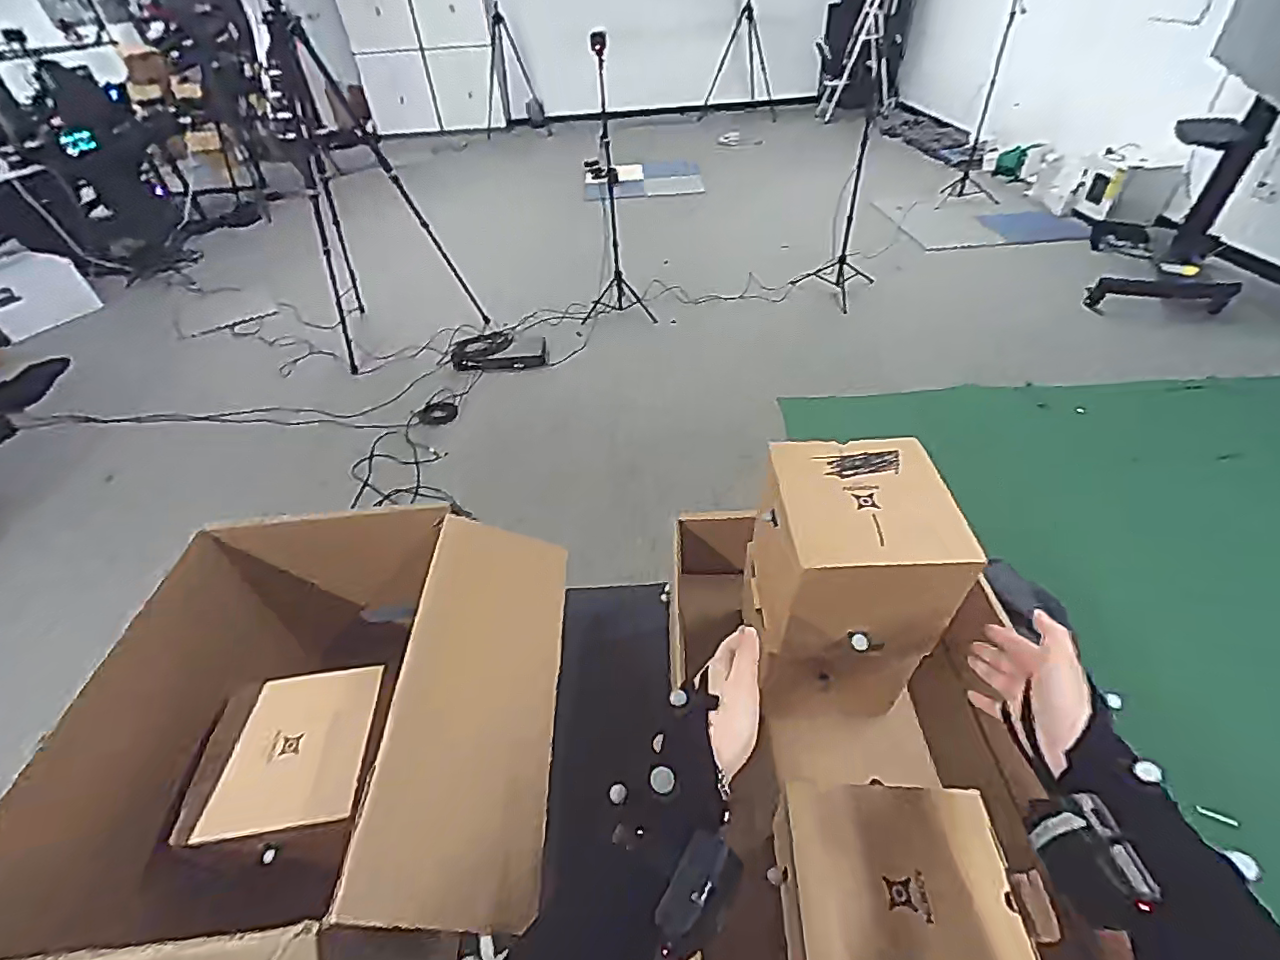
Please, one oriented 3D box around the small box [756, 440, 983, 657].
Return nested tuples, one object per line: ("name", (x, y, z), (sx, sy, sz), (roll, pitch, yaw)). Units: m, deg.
("small box", (0.228, 0.075, 0.596), (0.168, 0.176, 0.179), (-2, 45, 2))
